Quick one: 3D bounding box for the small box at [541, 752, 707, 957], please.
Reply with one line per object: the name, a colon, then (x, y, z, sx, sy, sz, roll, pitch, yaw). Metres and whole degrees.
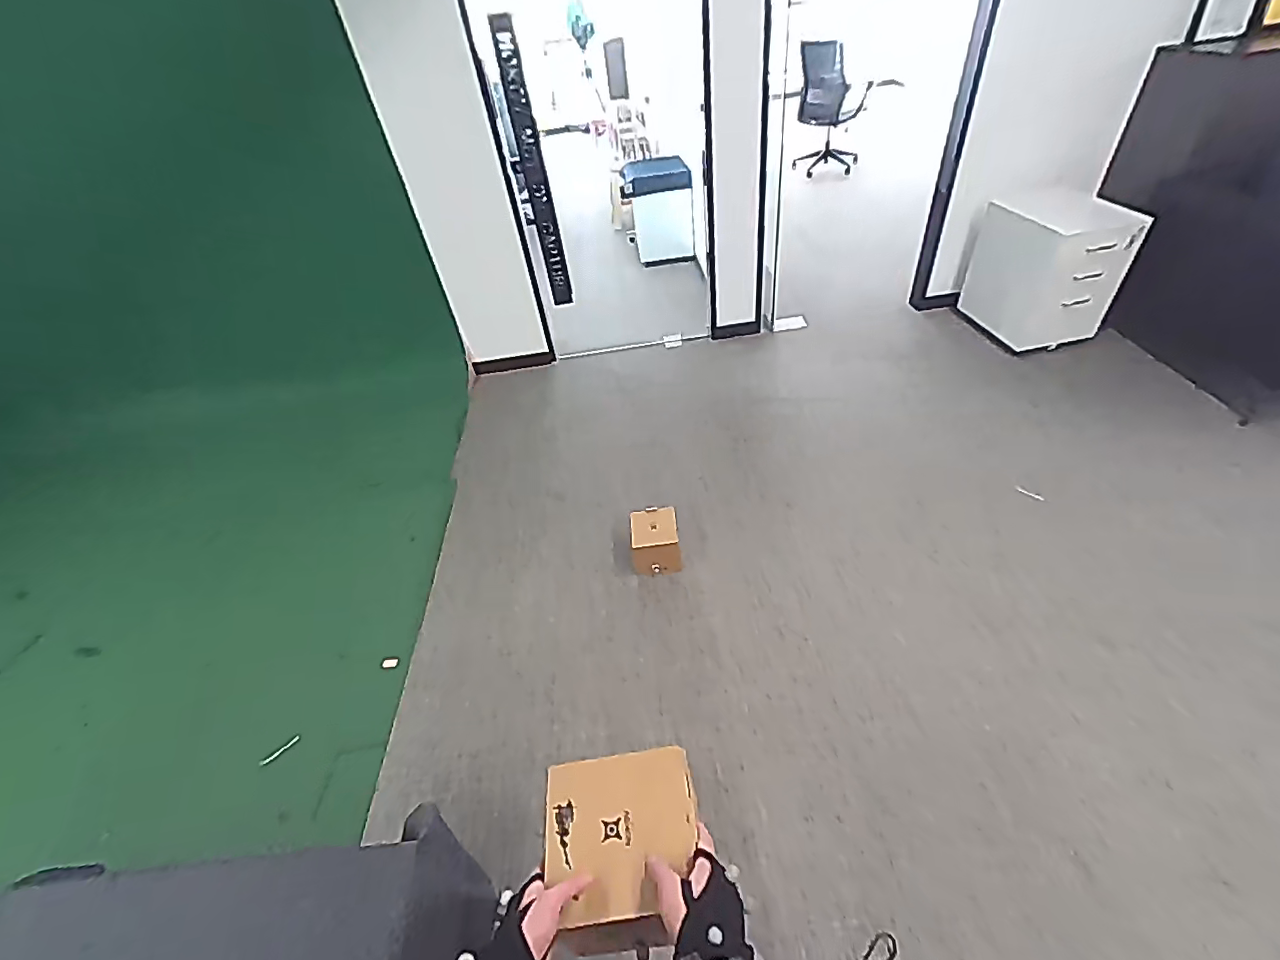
small box: (-0.014, 0.464, 0.671, 0.179, 0.176, 0.168, -8, 40, 2)

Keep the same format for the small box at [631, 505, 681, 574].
small box: (0.058, 0.217, 1.964, 0.168, 0.176, 0.179, -7, 43, 5)
